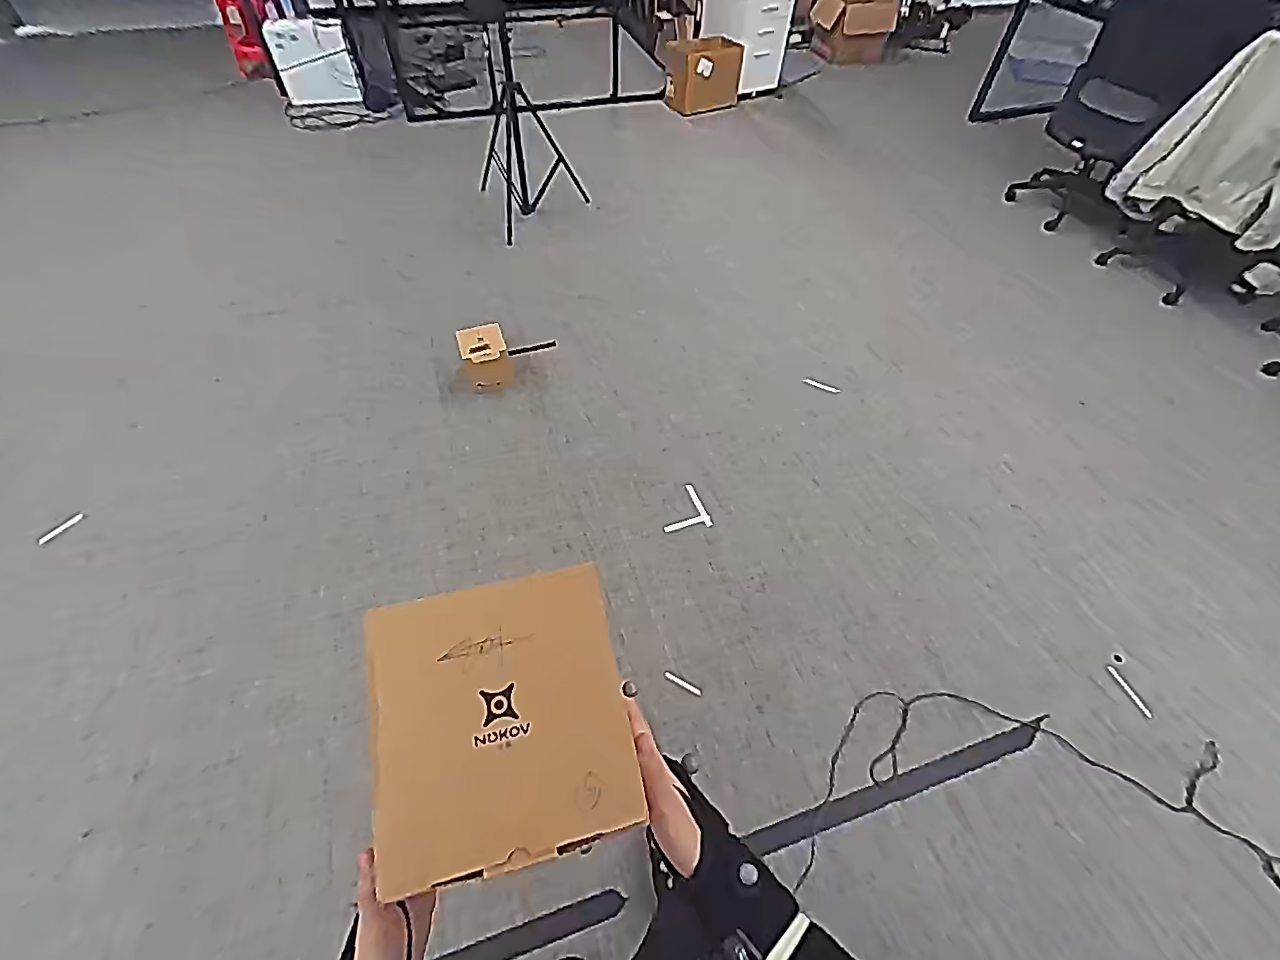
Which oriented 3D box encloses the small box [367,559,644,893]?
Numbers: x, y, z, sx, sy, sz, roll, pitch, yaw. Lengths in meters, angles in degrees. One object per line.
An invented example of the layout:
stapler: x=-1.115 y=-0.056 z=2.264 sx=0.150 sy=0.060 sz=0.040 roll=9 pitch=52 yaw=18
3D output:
small box: x=-0.100 y=0.184 z=0.433 sx=0.168 sy=0.176 sz=0.179 roll=-11 pitch=65 yaw=-11

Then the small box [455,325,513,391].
small box: x=-0.594 y=-0.462 z=2.075 sx=0.168 sy=0.176 sz=0.179 roll=-16 pitch=55 yaw=-14
